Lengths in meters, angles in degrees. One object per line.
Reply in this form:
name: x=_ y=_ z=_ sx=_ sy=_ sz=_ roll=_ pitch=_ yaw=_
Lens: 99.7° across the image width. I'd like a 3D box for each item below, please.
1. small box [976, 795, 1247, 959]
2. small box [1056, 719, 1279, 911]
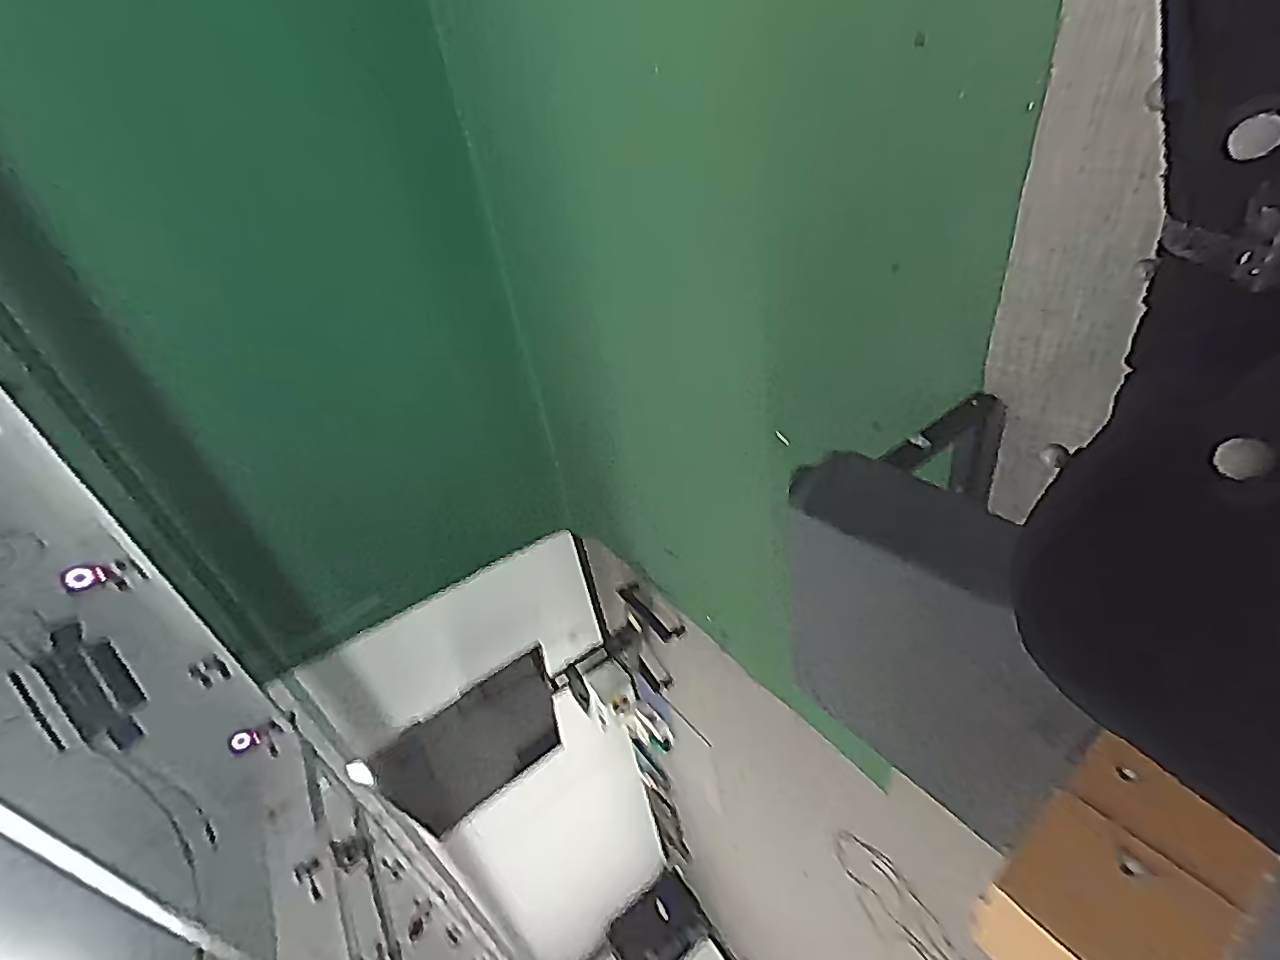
small box: x=0.547 y=0.518 z=0.645 sx=0.179 sy=0.176 sz=0.168 roll=32 pitch=144 yaw=48
small box: x=0.679 y=0.450 z=0.713 sx=0.179 sy=0.176 sz=0.168 roll=29 pitch=142 yaw=47
